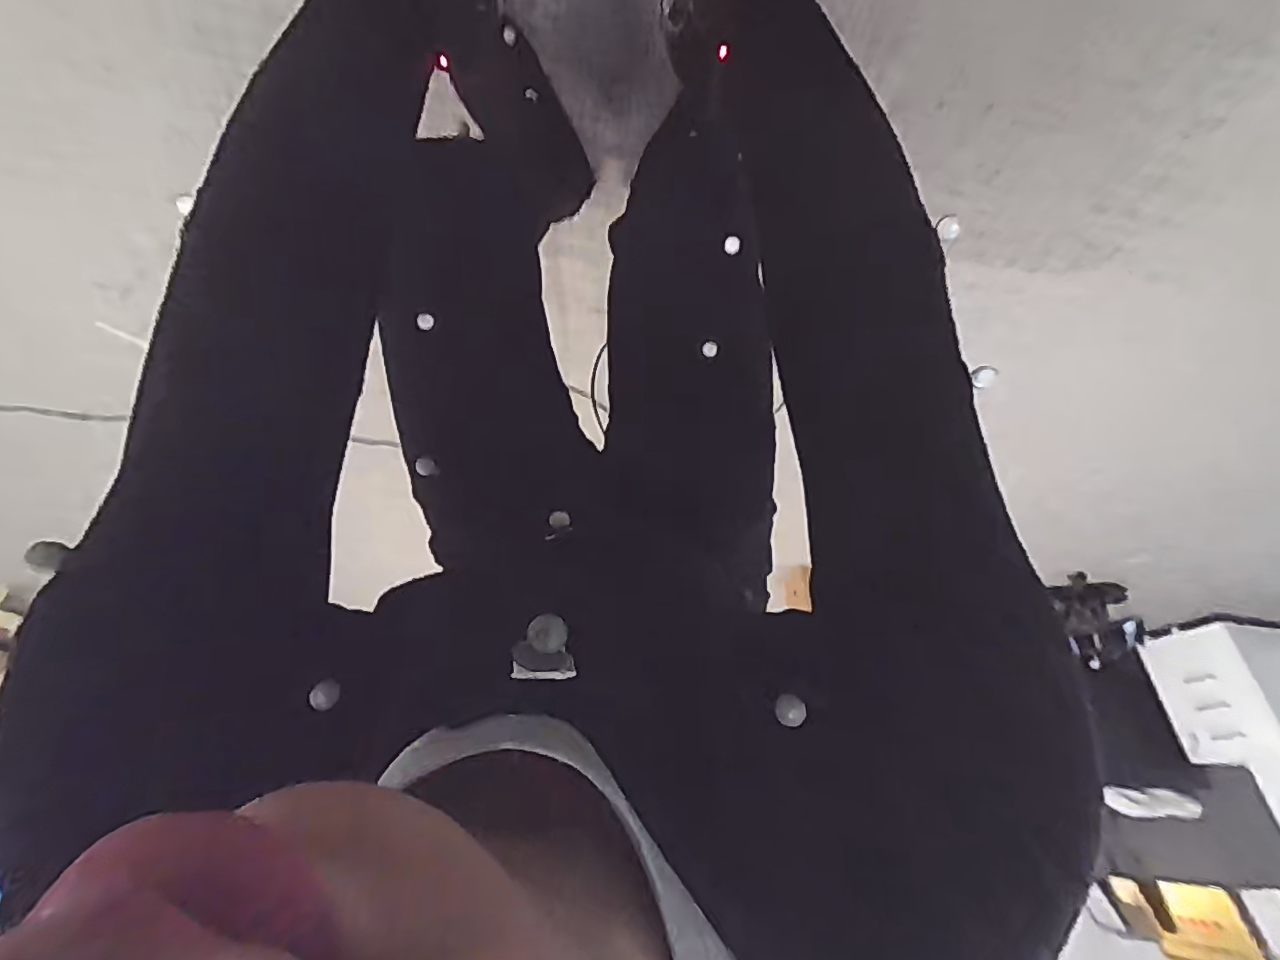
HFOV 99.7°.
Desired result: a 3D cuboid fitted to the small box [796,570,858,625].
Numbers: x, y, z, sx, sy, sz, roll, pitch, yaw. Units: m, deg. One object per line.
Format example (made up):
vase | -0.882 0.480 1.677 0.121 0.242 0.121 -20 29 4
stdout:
small box | 0.729 0.470 2.132 0.168 0.176 0.179 5 147 -8
